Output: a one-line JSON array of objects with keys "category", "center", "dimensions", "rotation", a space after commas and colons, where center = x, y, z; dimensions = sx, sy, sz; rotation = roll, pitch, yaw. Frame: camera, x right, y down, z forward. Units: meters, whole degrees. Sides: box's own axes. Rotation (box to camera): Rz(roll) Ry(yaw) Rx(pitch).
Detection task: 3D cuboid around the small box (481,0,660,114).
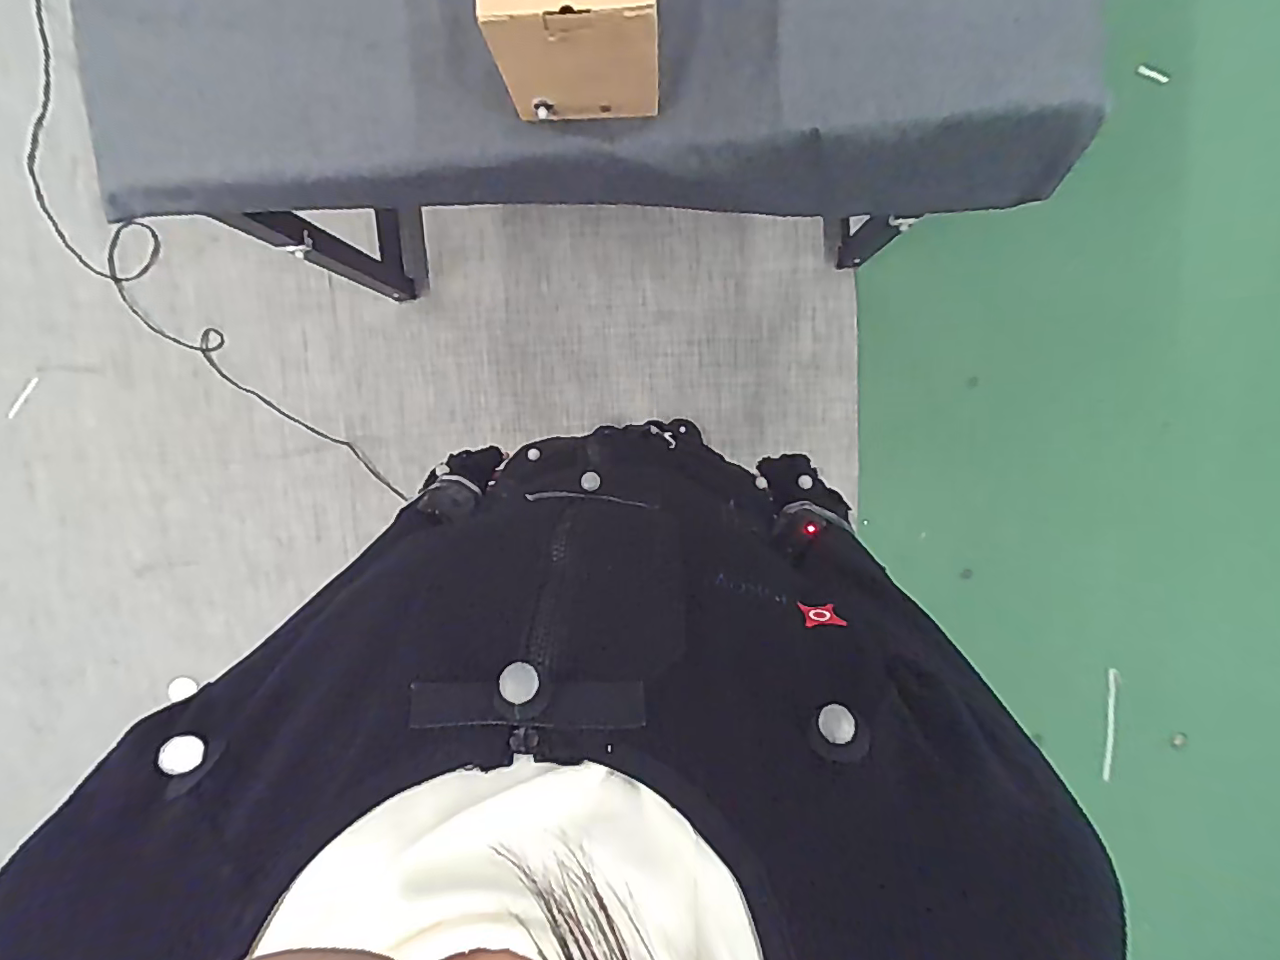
[{"category": "small box", "center": [-0.062, -0.517, 0.568], "dimensions": [0.168, 0.176, 0.179], "rotation": [0, 95, 1]}]
